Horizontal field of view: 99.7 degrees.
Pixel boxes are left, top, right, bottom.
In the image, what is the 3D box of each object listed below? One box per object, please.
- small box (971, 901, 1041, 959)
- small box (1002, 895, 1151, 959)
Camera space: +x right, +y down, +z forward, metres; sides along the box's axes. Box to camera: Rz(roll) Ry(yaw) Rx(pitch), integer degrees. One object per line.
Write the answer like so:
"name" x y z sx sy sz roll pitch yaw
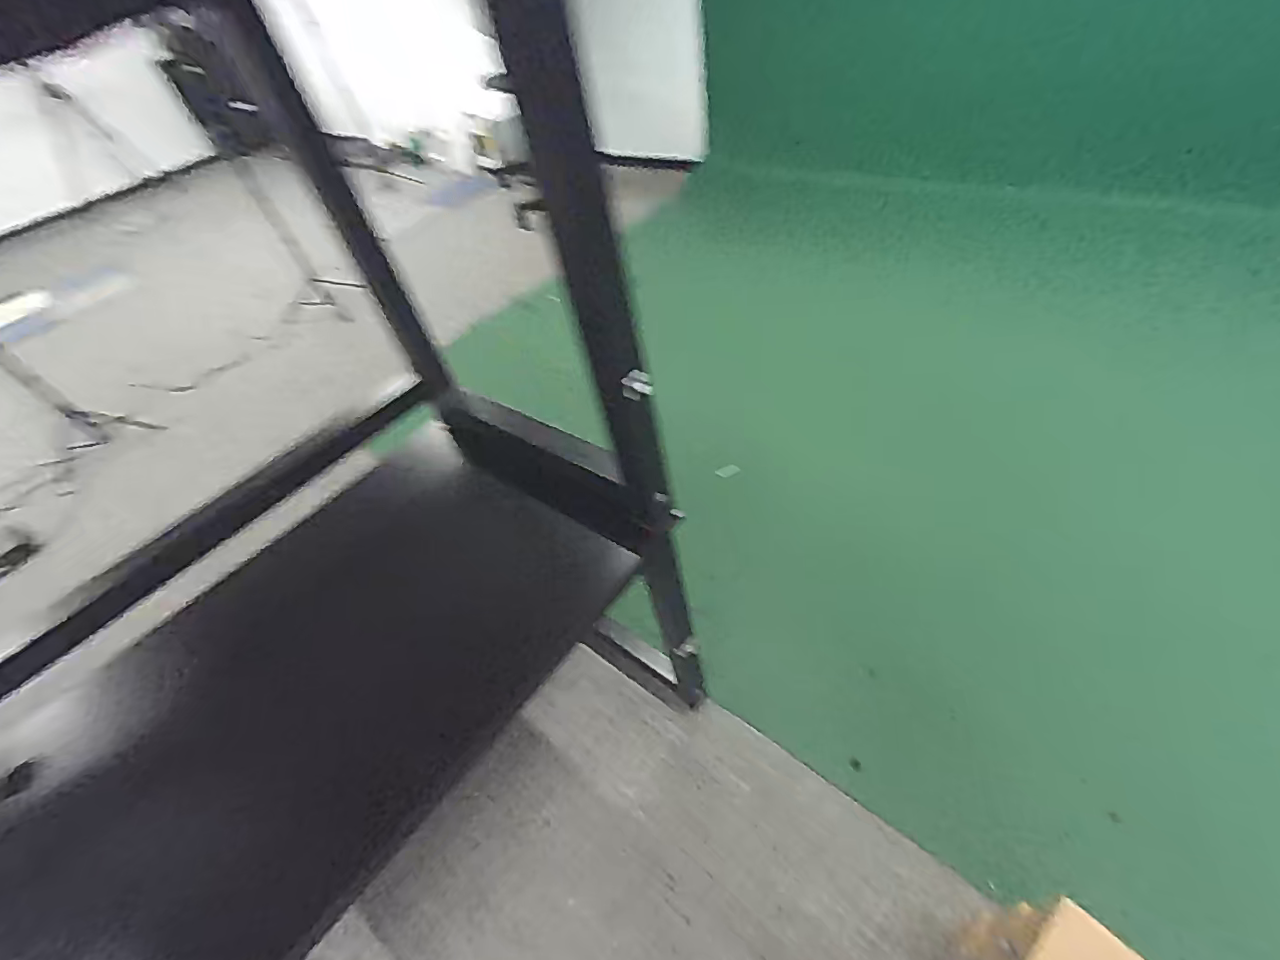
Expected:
"small box" 0.562 0.740 0.748 0.179 0.176 0.168 -40 50 -22
"small box" 0.524 0.636 0.623 0.168 0.176 0.179 -38 49 -20
